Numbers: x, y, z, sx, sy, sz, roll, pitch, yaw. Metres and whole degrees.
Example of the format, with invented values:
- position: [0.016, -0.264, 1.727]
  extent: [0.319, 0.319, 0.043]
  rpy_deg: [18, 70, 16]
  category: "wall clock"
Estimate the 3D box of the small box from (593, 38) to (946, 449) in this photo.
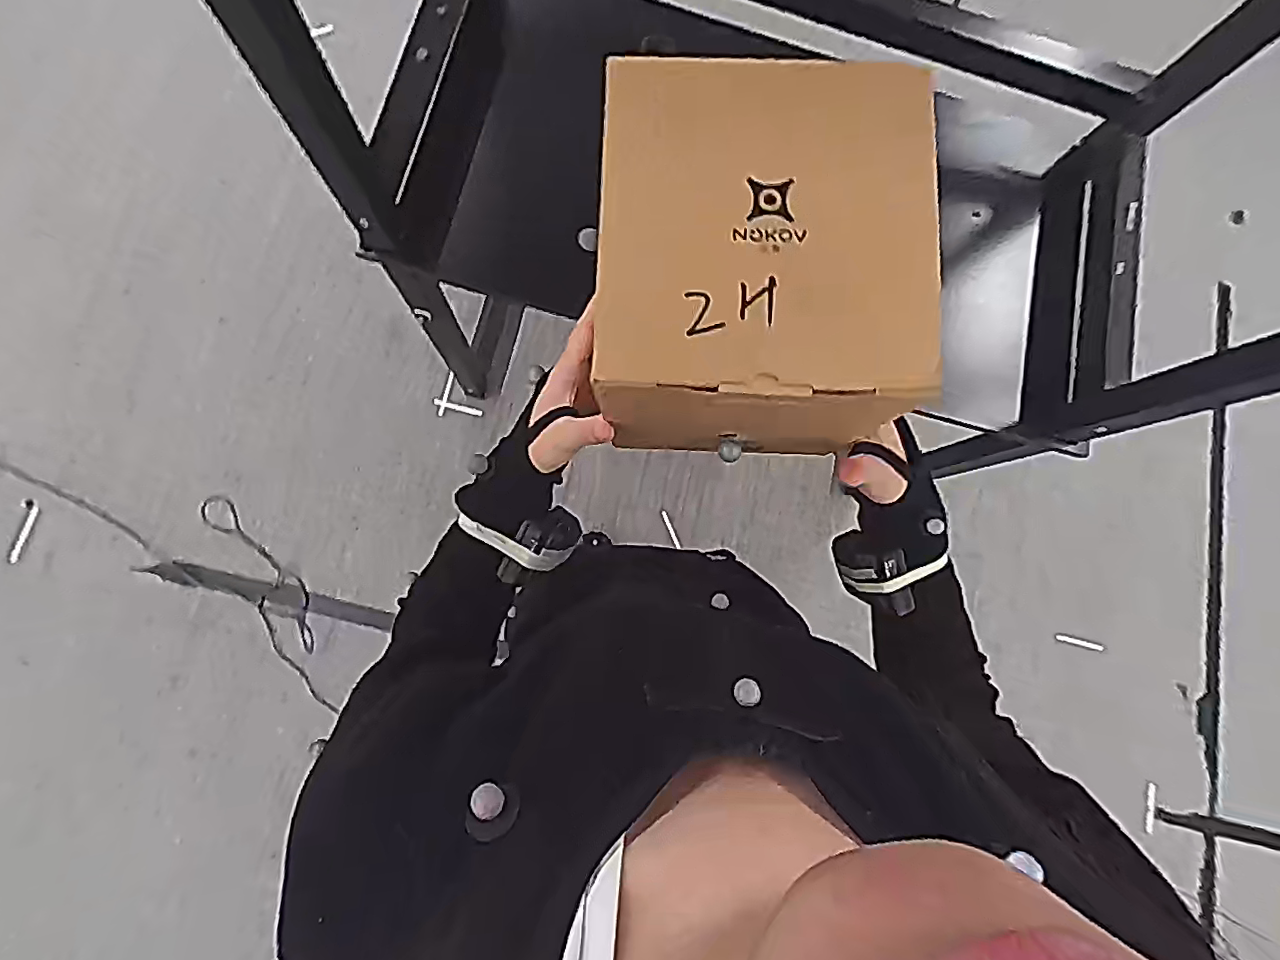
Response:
- position: [0.064, -0.124, 0.340]
  extent: [0.168, 0.176, 0.179]
  rpy_deg: [2, 83, 2]
  category: "small box"
